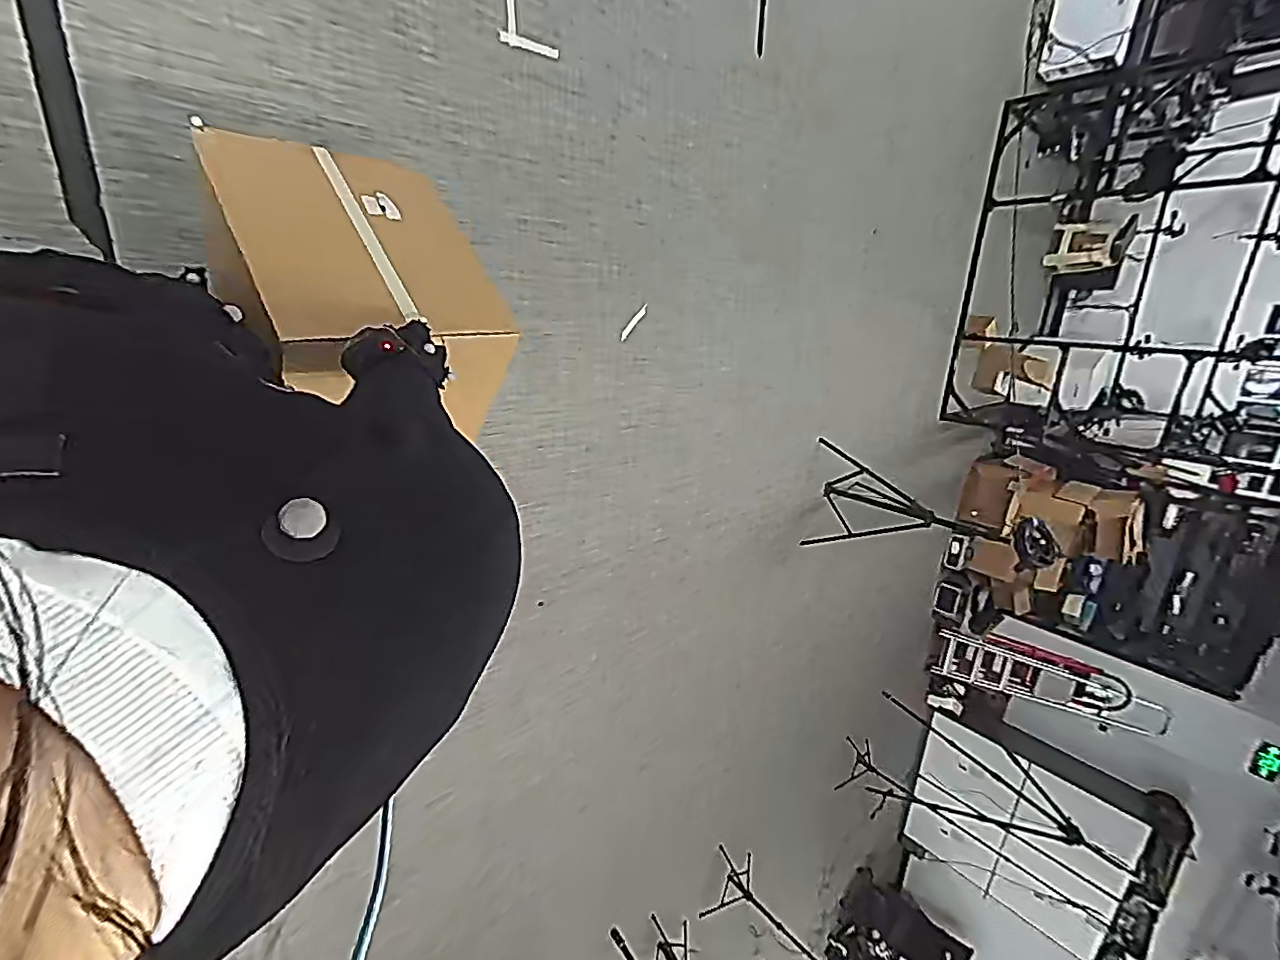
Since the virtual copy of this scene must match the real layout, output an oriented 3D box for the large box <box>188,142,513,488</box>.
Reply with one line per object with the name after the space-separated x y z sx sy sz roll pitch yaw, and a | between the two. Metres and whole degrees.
-0.470 -0.257 0.881 0.320 0.408 0.320 -17 156 -42 | large box
